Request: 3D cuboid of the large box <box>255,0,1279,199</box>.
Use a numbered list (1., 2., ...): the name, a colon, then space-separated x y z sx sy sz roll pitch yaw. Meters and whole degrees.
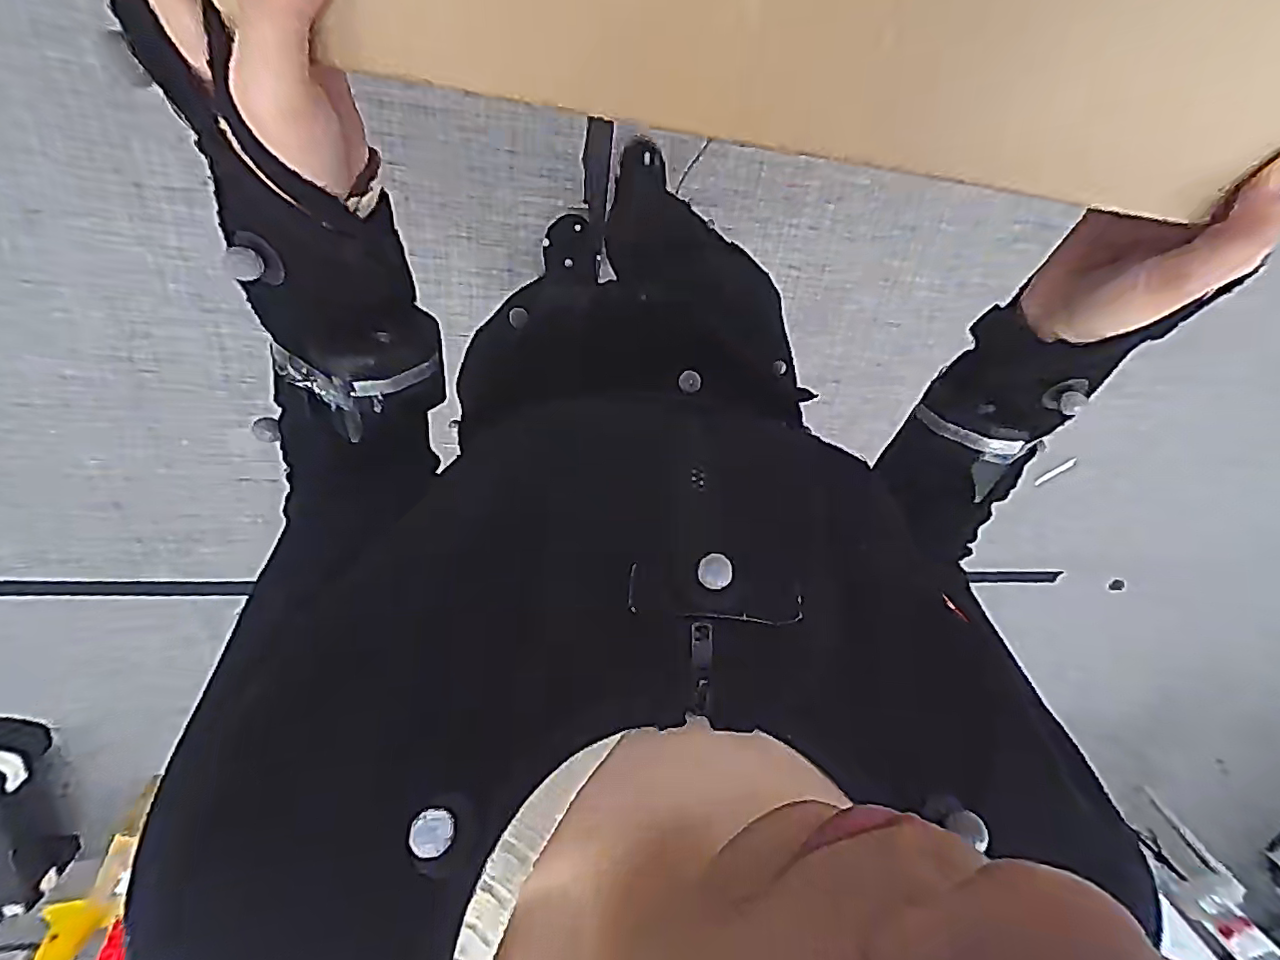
1. large box: 0.088 -0.341 0.182 0.408 0.320 0.320 4 141 -8
